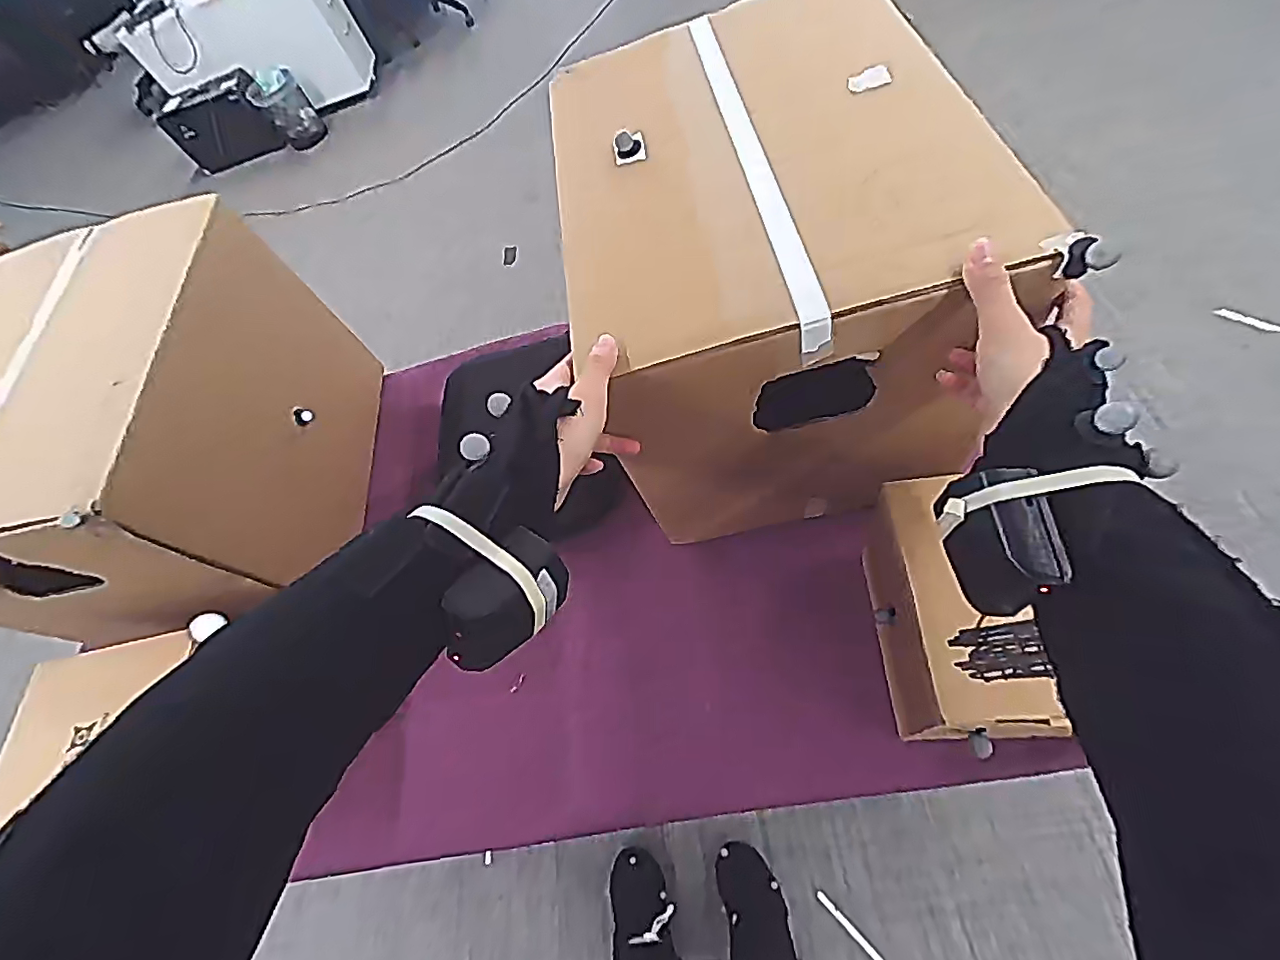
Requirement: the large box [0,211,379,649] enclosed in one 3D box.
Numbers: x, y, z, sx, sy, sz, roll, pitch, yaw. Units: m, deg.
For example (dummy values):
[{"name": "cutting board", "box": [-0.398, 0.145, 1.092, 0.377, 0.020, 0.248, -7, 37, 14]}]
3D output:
[{"name": "large box", "box": [-0.563, -0.040, 0.670, 0.320, 0.320, 0.408, -13, 63, 7]}]
